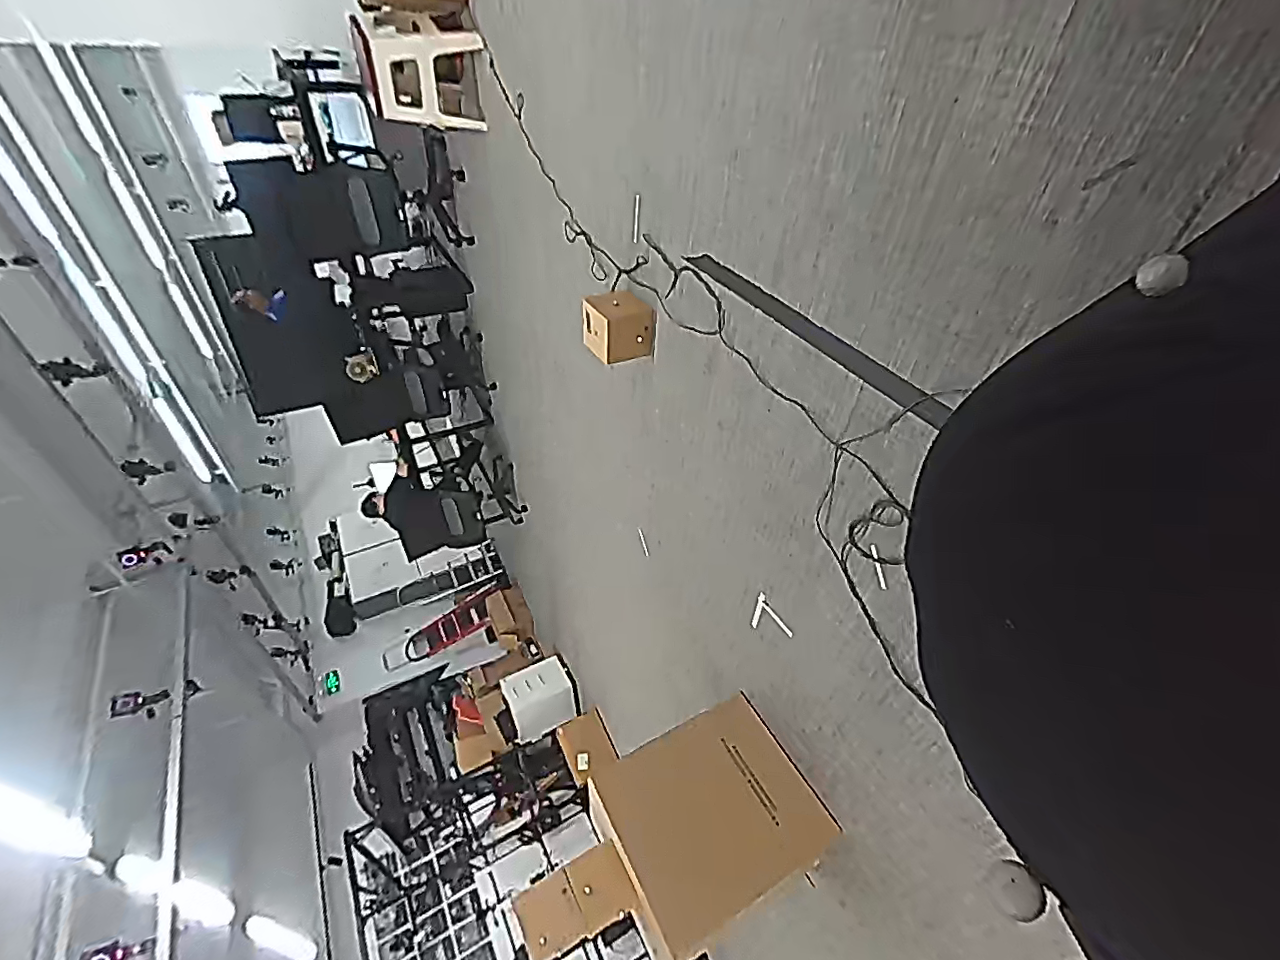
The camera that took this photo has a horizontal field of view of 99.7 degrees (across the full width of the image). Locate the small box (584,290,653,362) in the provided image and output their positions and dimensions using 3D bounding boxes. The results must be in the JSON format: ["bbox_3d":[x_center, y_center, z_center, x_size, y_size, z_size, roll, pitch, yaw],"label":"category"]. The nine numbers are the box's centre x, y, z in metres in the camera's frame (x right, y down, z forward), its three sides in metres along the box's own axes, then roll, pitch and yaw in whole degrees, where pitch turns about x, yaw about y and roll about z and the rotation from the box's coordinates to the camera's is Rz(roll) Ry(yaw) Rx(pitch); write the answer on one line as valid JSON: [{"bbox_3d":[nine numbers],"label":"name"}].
[{"bbox_3d":[-0.076,-0.518,1.799,0.179,0.176,0.168,50,149,38],"label":"small box"}]

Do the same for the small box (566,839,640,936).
[{"bbox_3d":[-0.118,1.254,1.678,0.179,0.176,0.168,49,149,40],"label":"small box"}]
